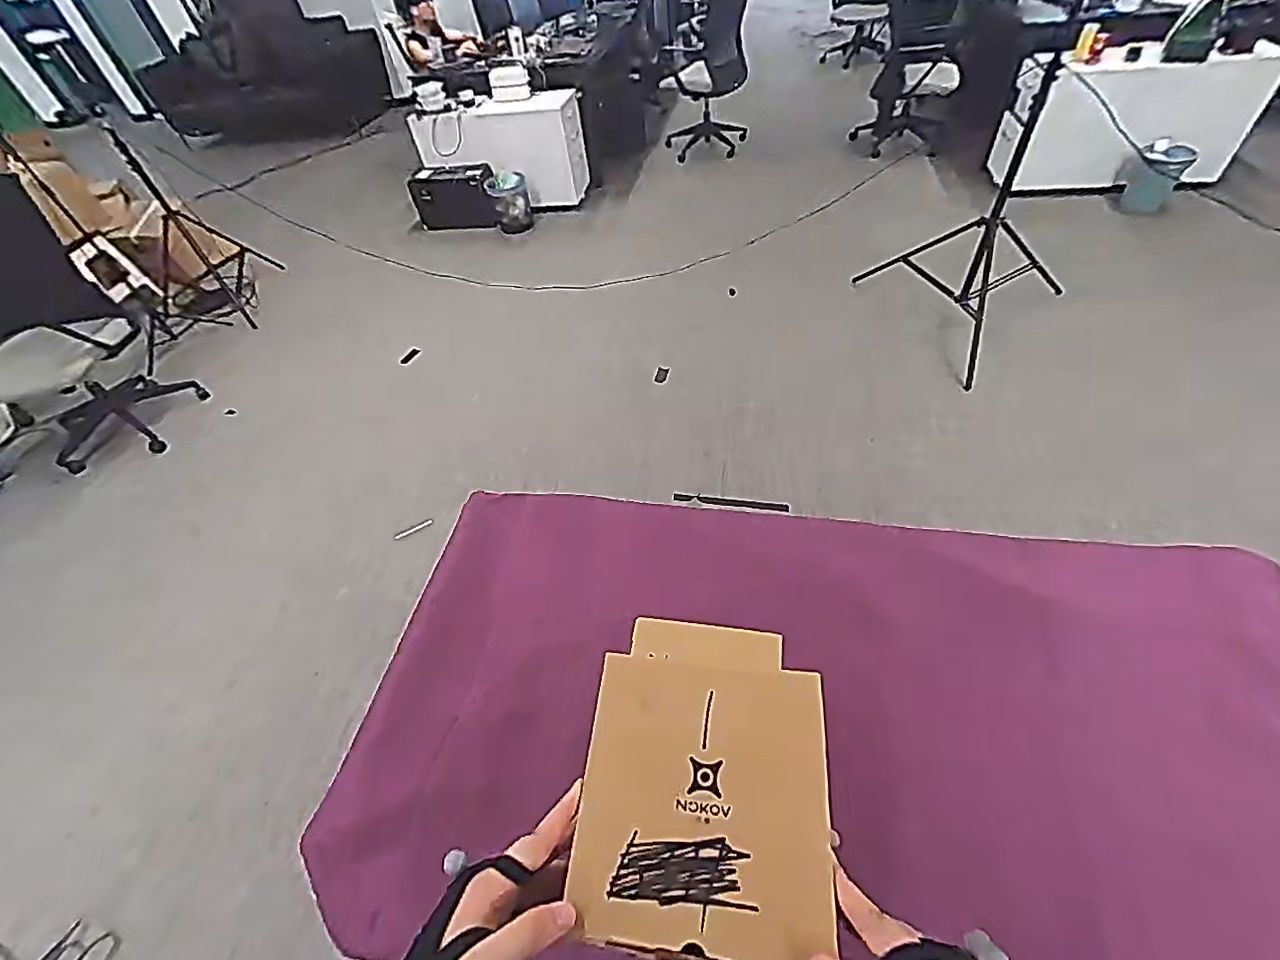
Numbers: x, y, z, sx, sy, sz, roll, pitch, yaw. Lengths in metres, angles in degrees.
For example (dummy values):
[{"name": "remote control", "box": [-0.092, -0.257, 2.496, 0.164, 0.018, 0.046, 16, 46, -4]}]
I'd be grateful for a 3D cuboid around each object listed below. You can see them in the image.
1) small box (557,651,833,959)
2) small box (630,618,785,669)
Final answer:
[{"name": "small box", "box": [0.050, 0.255, 0.424, 0.168, 0.176, 0.179, 2, 53, 10]}, {"name": "small box", "box": [0.074, 0.287, 0.647, 0.179, 0.176, 0.168, 4, 49, 12]}]
